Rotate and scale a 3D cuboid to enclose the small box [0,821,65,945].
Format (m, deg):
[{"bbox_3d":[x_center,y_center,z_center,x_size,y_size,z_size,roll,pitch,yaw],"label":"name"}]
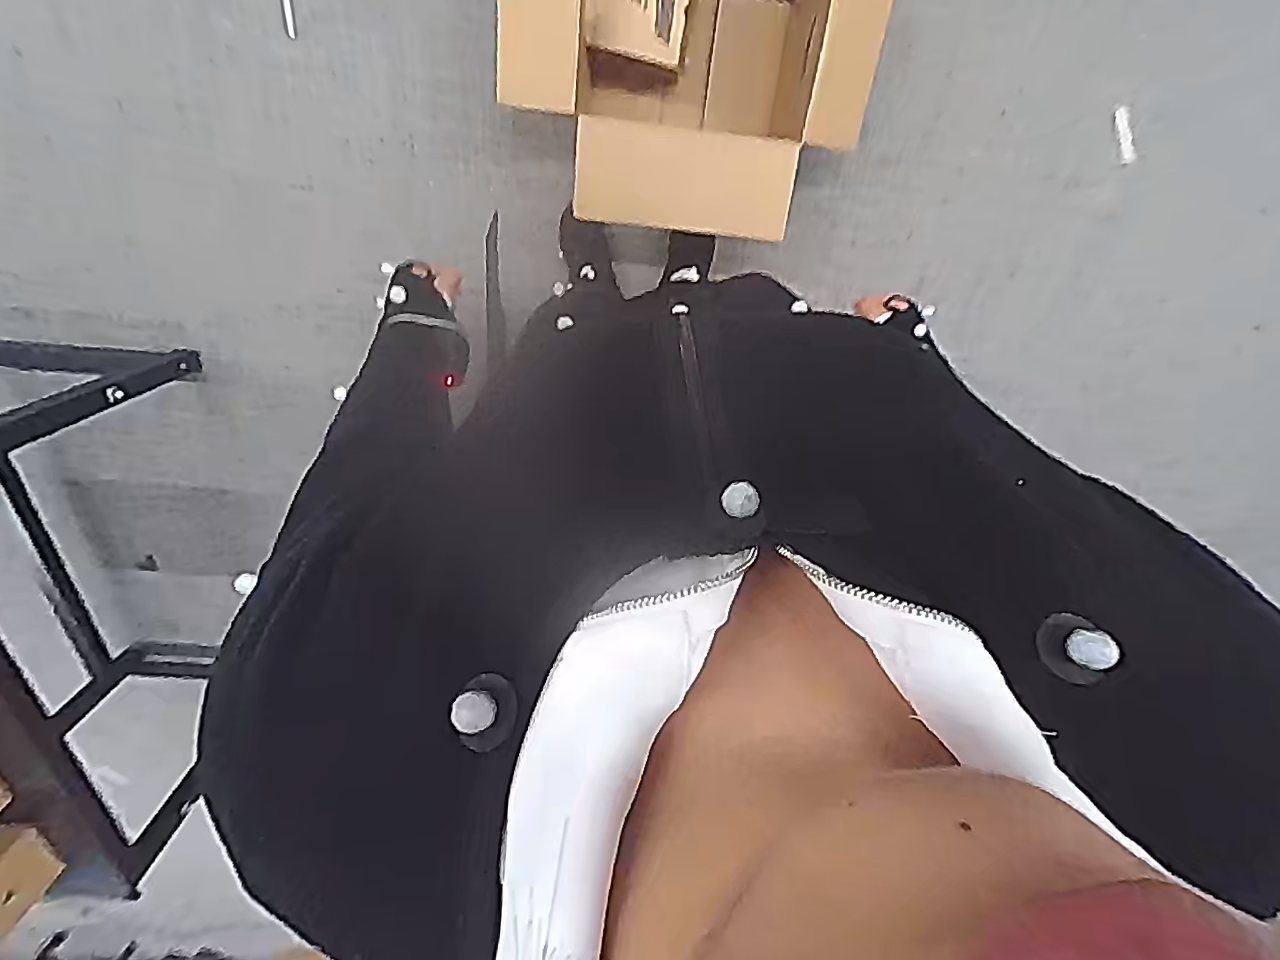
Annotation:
[{"bbox_3d":[-1.426,0.868,1.168,0.168,0.176,0.179,3,119,-2],"label":"small box"}]
